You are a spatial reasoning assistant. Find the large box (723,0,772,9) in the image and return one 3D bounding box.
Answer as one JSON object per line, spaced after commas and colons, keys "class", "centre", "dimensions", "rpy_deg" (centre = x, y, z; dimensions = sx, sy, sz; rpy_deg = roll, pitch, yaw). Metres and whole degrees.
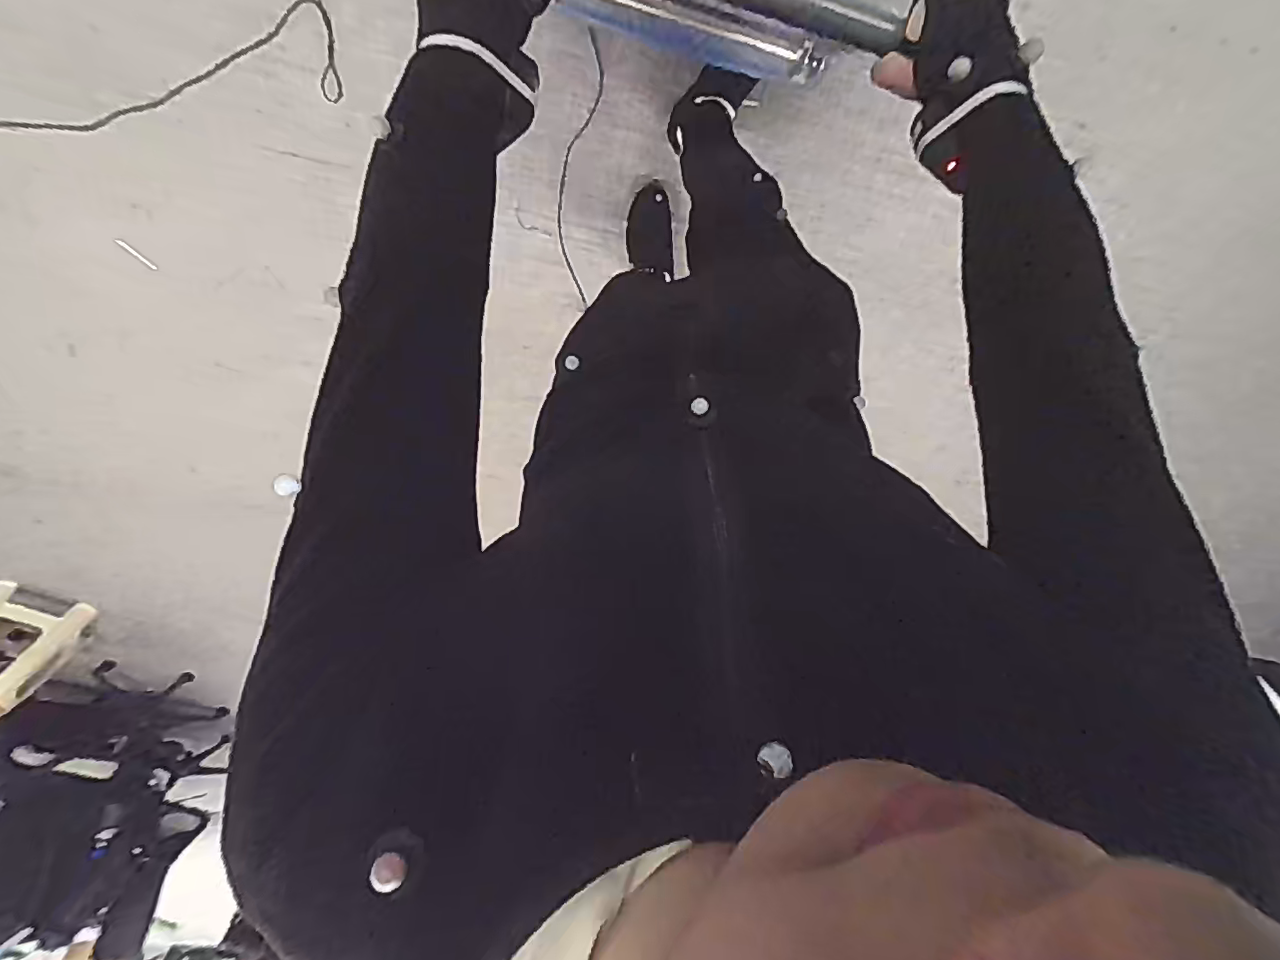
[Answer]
{"class": "large box", "centre": [0.099, -0.924, 0.708], "dimensions": [0.320, 0.320, 0.408], "rpy_deg": [11, 128, -10]}
